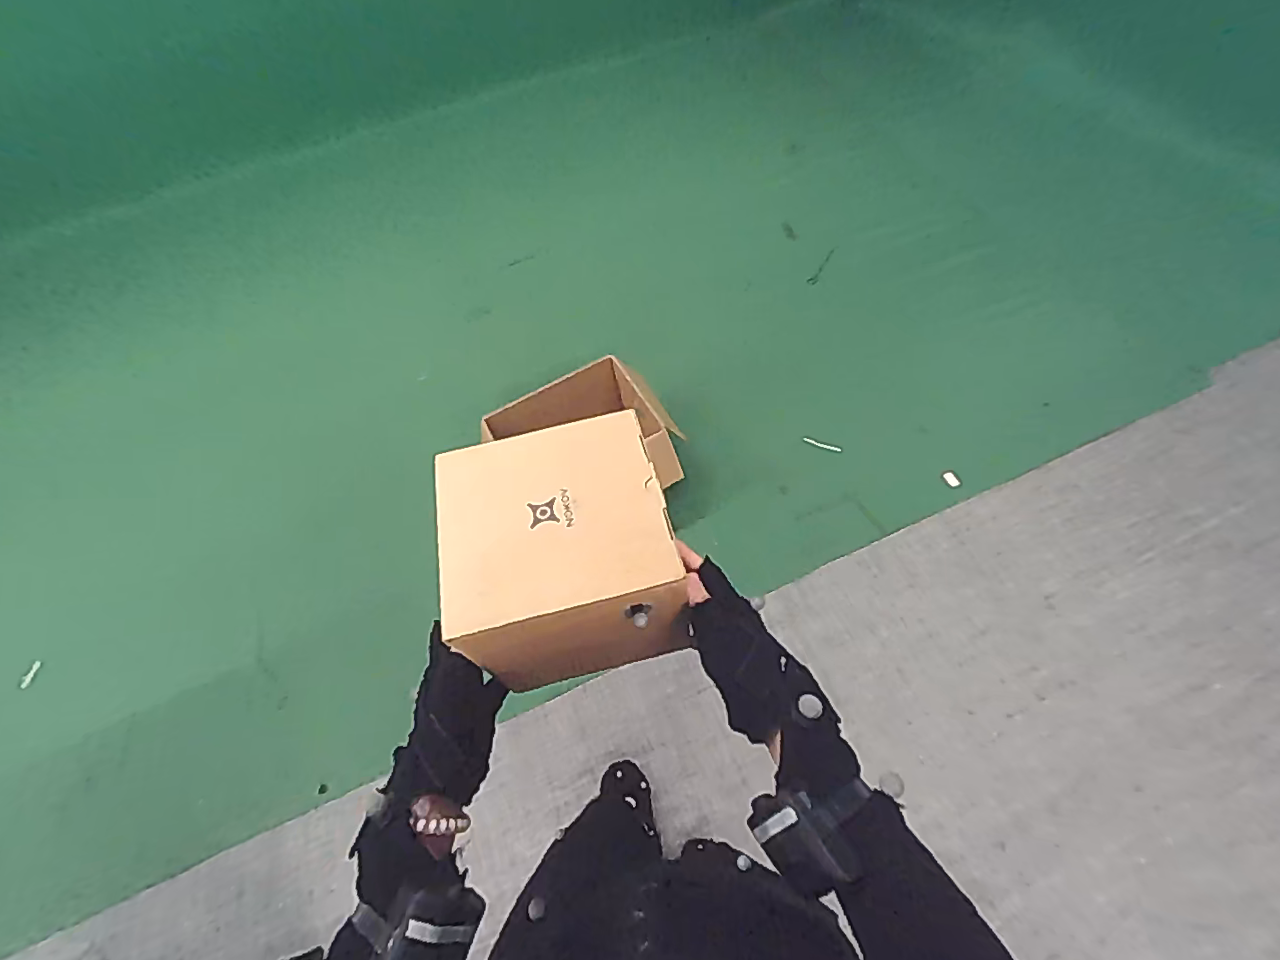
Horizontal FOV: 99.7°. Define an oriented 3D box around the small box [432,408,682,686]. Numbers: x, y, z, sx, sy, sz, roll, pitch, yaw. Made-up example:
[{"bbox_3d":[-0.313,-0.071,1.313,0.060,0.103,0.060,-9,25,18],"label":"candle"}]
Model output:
[{"bbox_3d":[-0.066,0.067,0.483,0.179,0.176,0.168,-14,56,-4],"label":"small box"}]
